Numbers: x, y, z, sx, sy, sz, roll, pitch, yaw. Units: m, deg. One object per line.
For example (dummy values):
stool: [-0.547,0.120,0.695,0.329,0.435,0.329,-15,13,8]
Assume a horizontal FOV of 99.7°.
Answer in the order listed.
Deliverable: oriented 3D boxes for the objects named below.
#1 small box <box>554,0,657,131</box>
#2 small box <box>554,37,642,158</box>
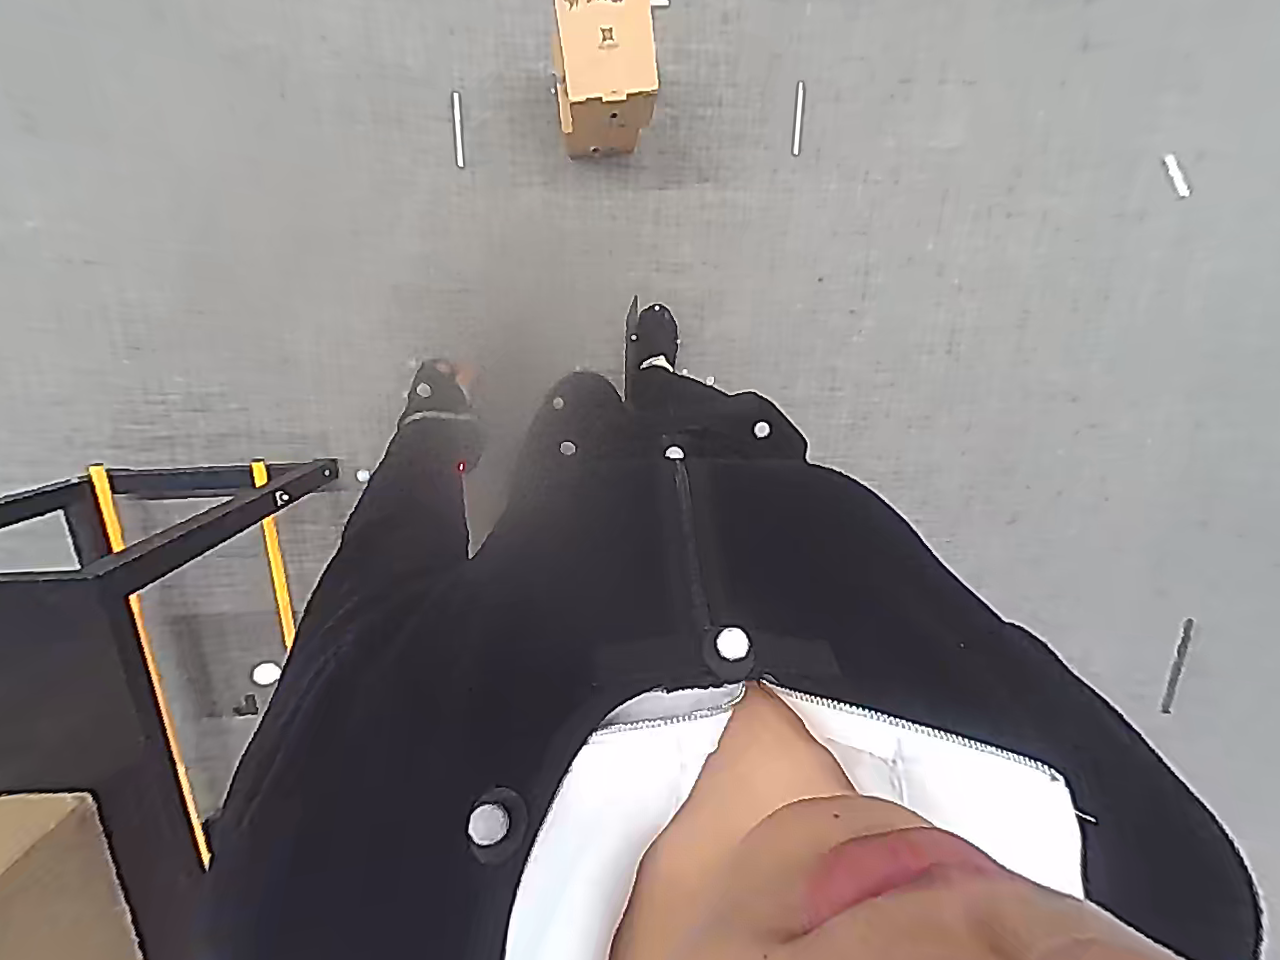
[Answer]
small box: [-0.061,-0.785,1.022,0.168,0.176,0.179,-8,106,-1]
small box: [-0.091,-0.829,1.179,0.168,0.176,0.179,-7,107,-2]
